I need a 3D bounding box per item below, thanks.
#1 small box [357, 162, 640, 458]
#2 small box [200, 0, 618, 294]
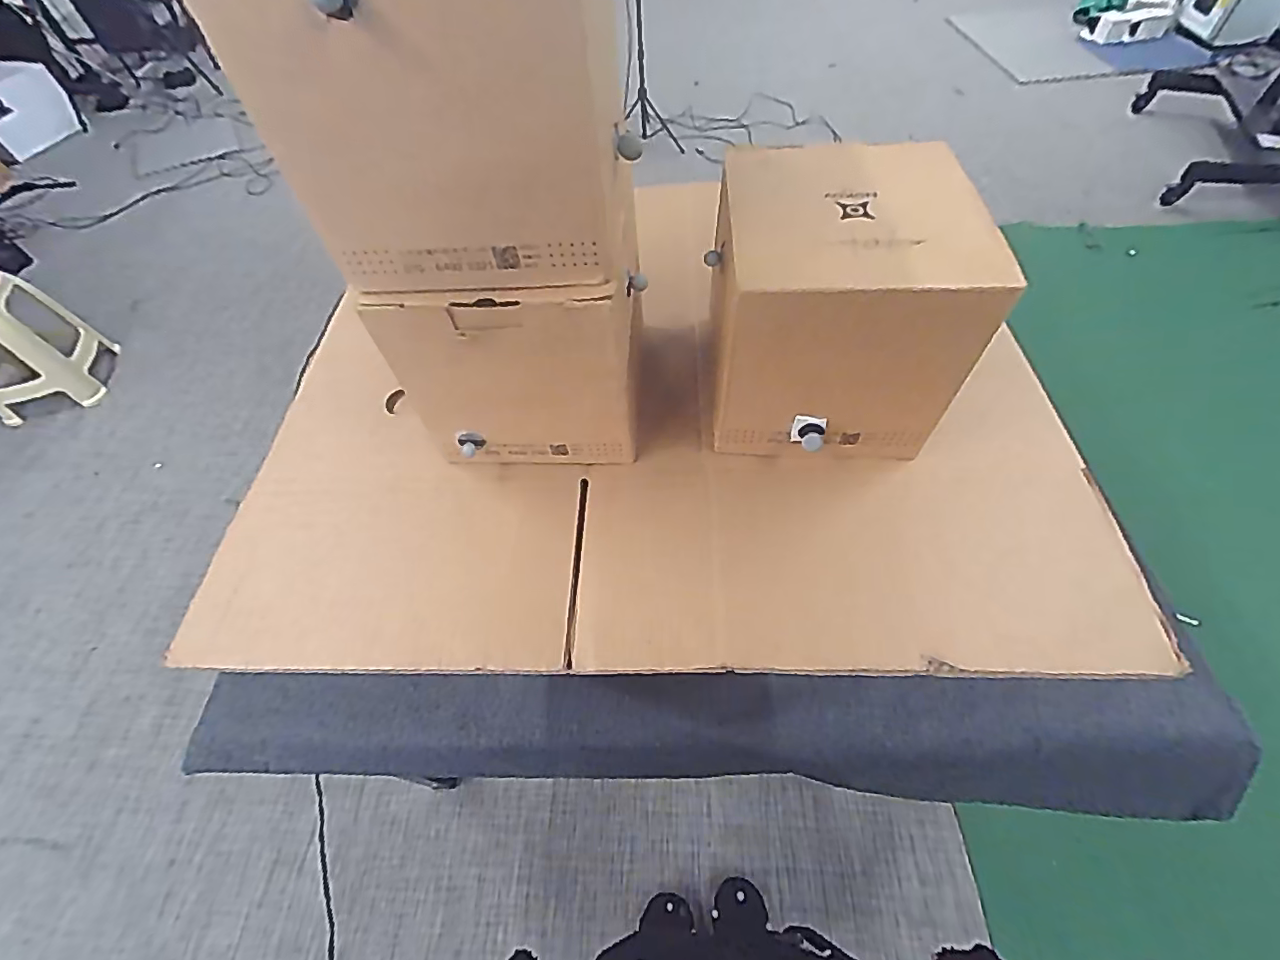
[{"bbox_3d":[-0.090,-0.131,0.447,0.168,0.176,0.179,0,55,5],"label":"small box"},{"bbox_3d":[-0.104,-0.233,0.319,0.168,0.176,0.179,-1,55,4],"label":"small box"}]
